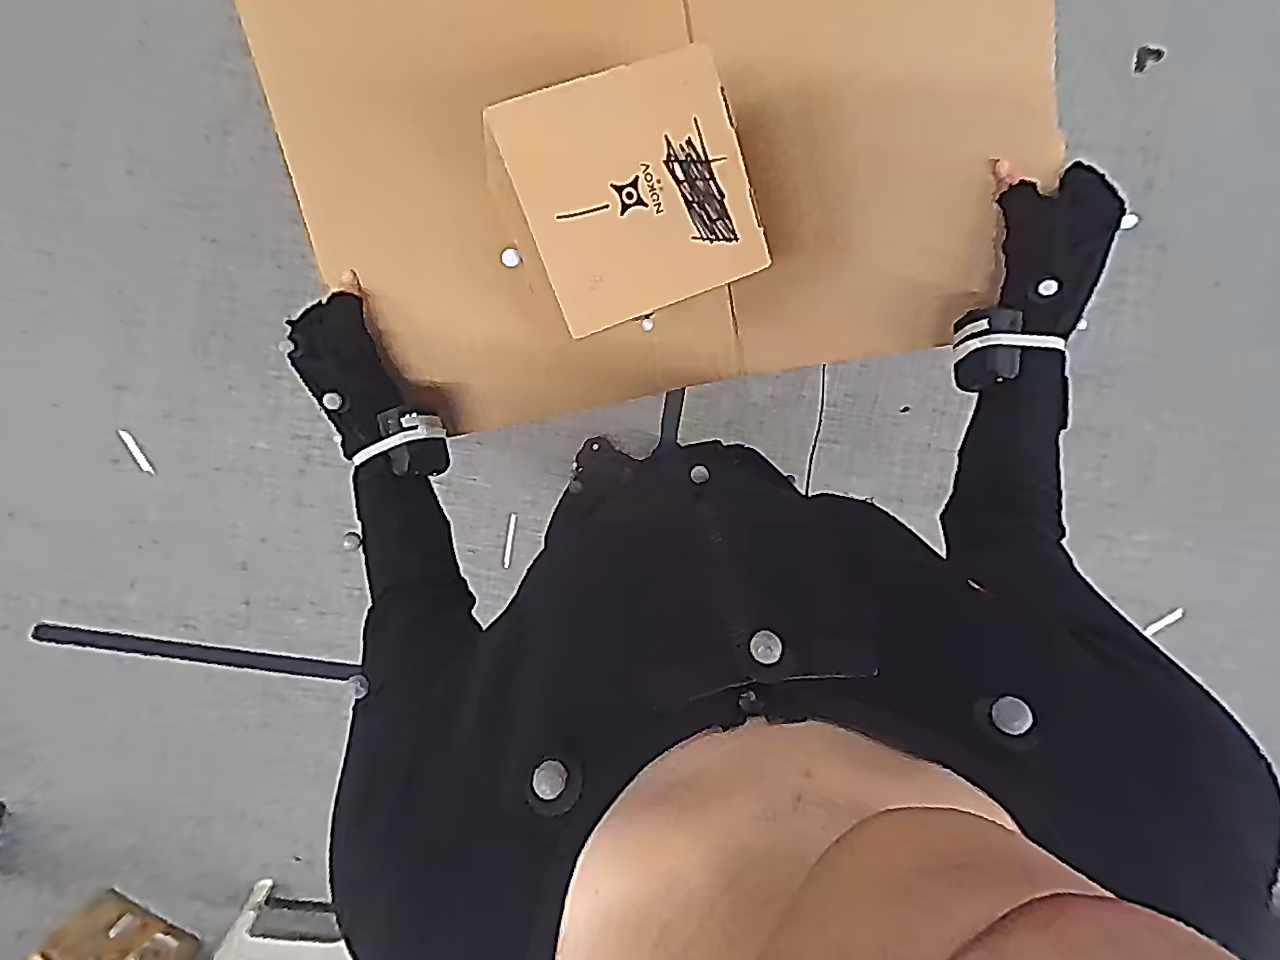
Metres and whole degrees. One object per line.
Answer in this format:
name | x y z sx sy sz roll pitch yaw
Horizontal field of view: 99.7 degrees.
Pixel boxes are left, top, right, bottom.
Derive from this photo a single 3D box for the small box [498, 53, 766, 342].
small box | -0.017 -0.232 0.488 0.179 0.176 0.168 -22 106 -8
